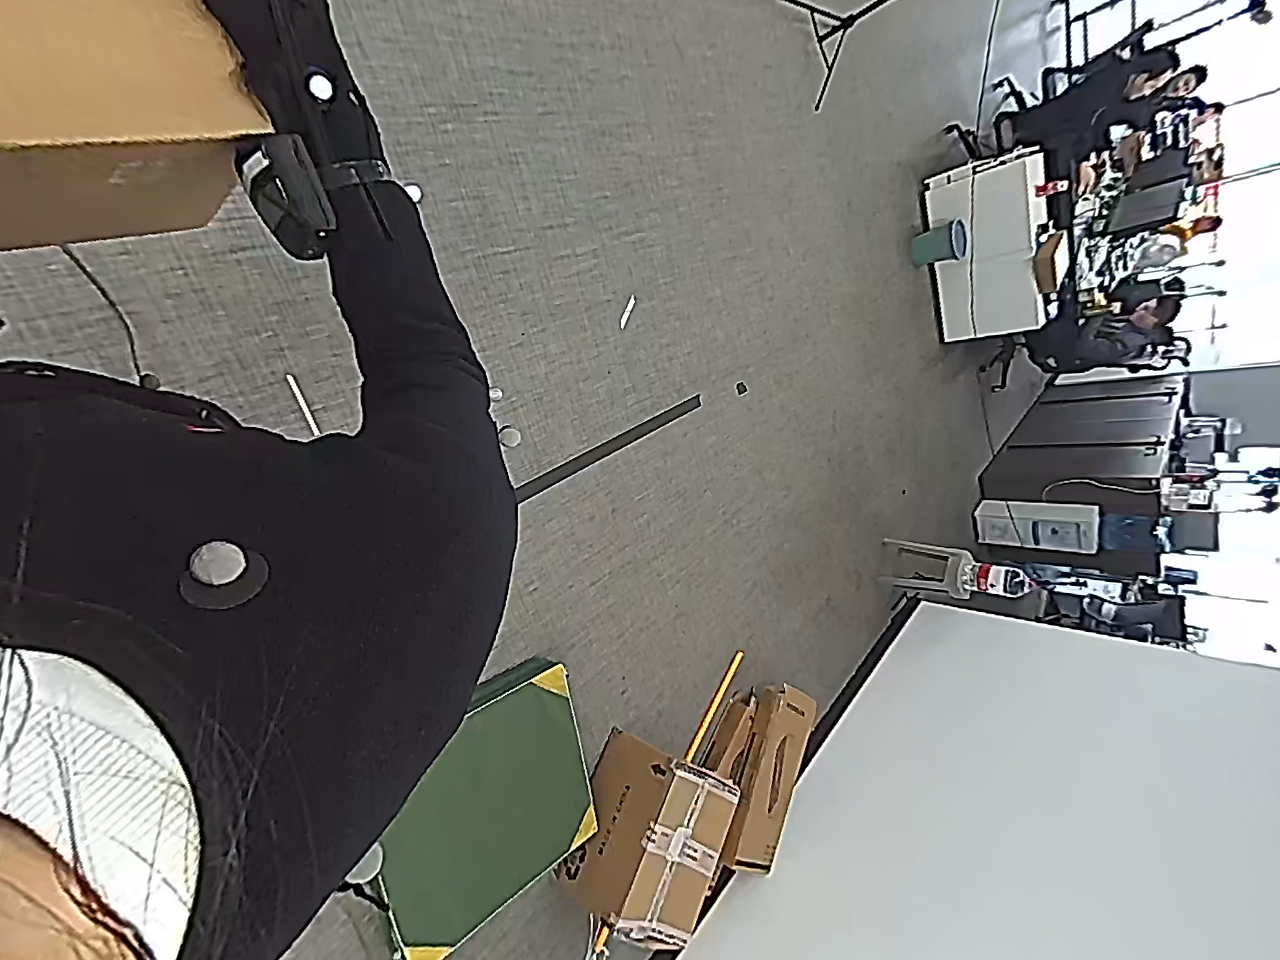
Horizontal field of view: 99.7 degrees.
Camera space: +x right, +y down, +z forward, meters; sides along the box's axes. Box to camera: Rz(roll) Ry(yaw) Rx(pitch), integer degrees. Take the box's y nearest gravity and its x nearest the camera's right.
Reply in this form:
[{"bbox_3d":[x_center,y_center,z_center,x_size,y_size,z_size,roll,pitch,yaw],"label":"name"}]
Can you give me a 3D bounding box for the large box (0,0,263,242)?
[{"bbox_3d":[-0.516,-0.300,0.278,0.408,0.320,0.320,-33,121,-38],"label":"large box"}]
